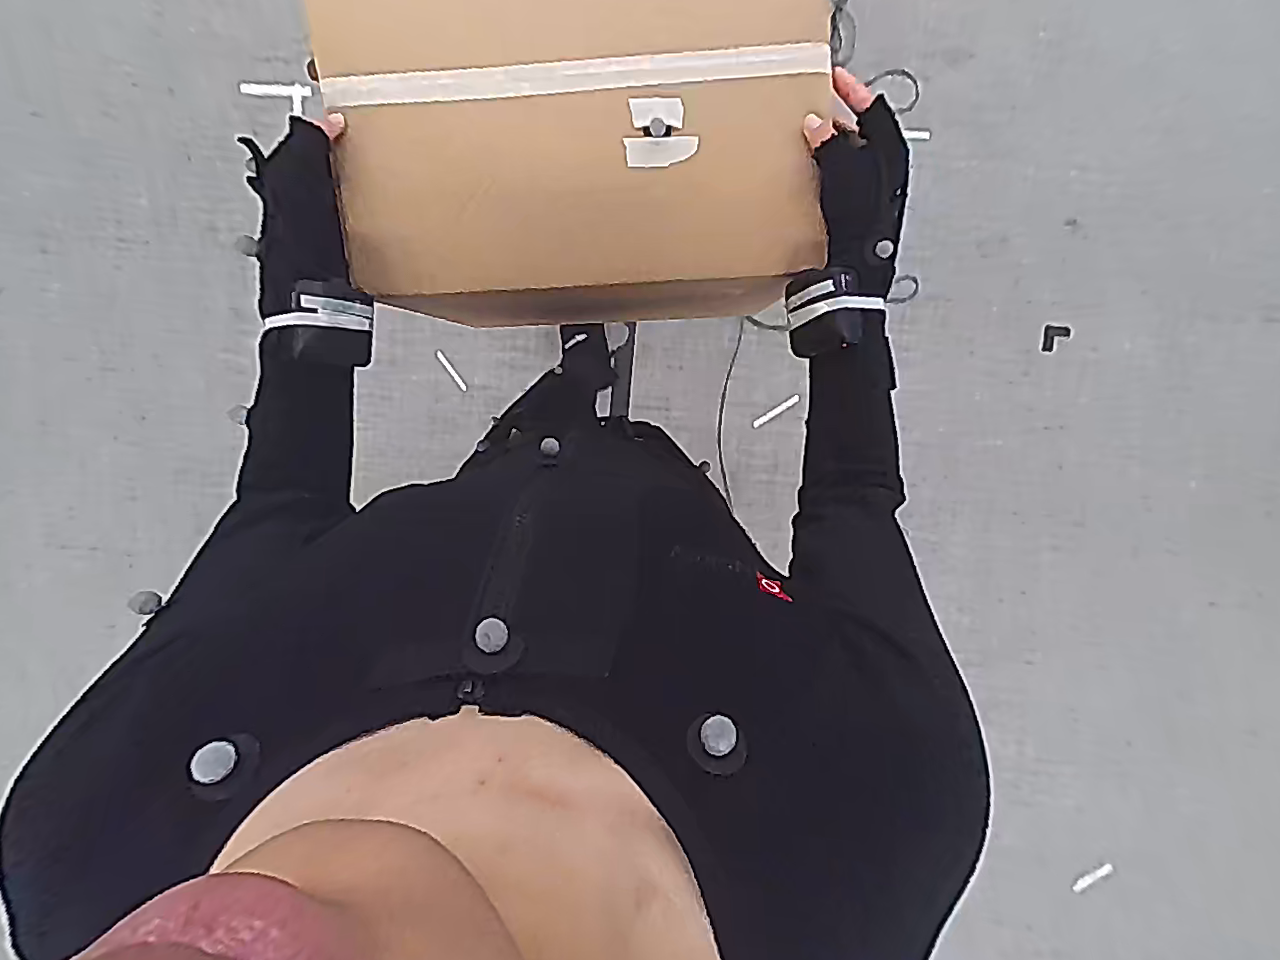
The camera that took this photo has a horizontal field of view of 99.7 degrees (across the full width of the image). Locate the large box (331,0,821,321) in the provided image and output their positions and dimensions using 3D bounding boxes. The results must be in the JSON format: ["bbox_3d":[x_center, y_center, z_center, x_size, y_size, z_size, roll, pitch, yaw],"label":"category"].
[{"bbox_3d":[-0.050,-0.361,0.594,0.408,0.320,0.320,-3,102,1],"label":"large box"}]
